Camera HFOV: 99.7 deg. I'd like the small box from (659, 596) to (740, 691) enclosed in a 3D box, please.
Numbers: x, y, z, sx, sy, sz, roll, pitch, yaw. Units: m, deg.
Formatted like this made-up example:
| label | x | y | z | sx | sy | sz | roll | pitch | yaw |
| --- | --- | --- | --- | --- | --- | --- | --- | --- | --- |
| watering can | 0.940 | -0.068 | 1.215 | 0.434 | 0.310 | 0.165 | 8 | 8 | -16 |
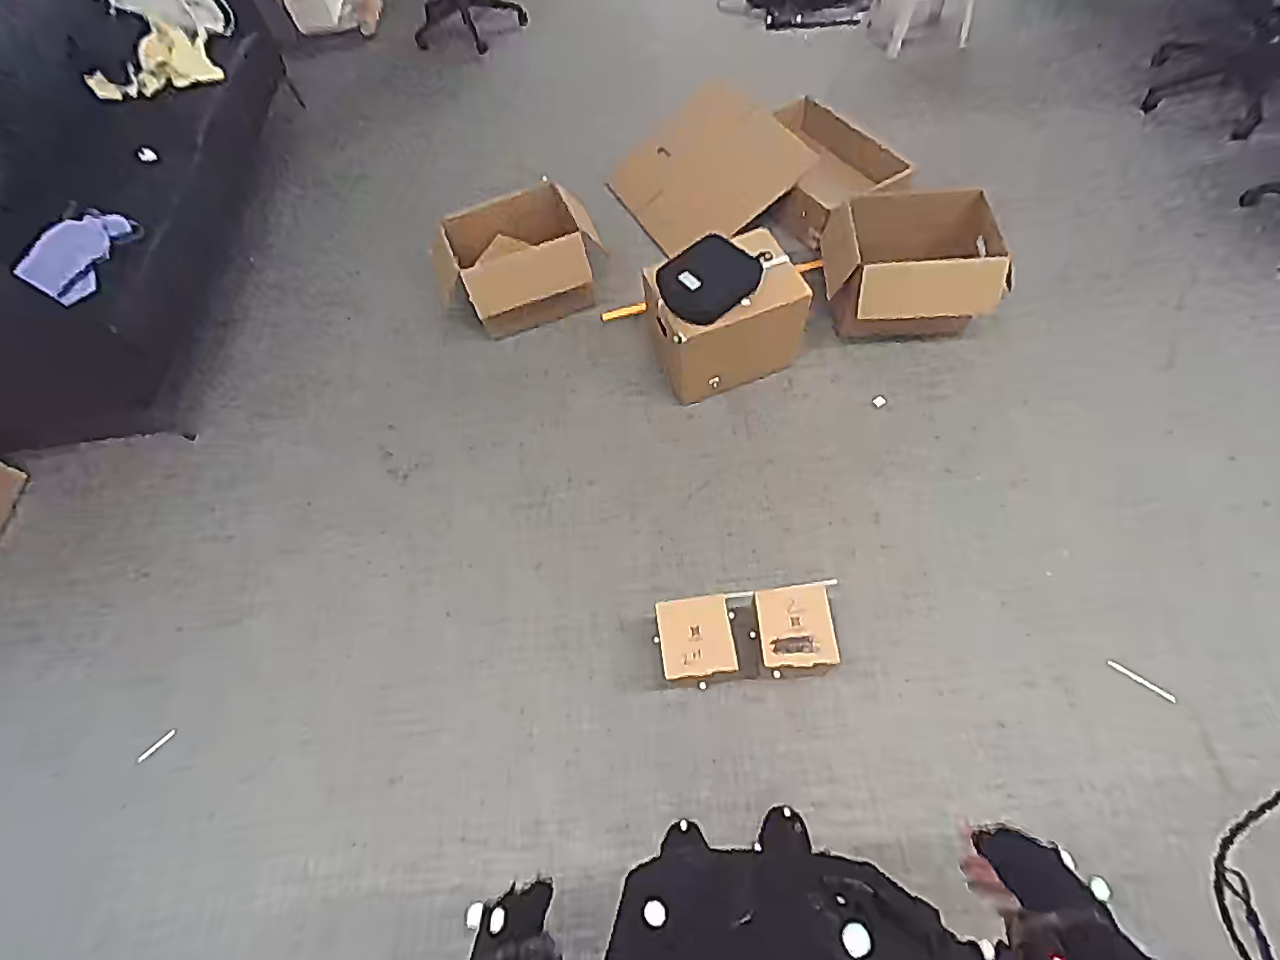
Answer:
| label | x | y | z | sx | sy | sz | roll | pitch | yaw |
| --- | --- | --- | --- | --- | --- | --- | --- | --- | --- |
| small box | 0.140 | 0.397 | 1.303 | 0.168 | 0.176 | 0.179 | -9 | 61 | 2 |
